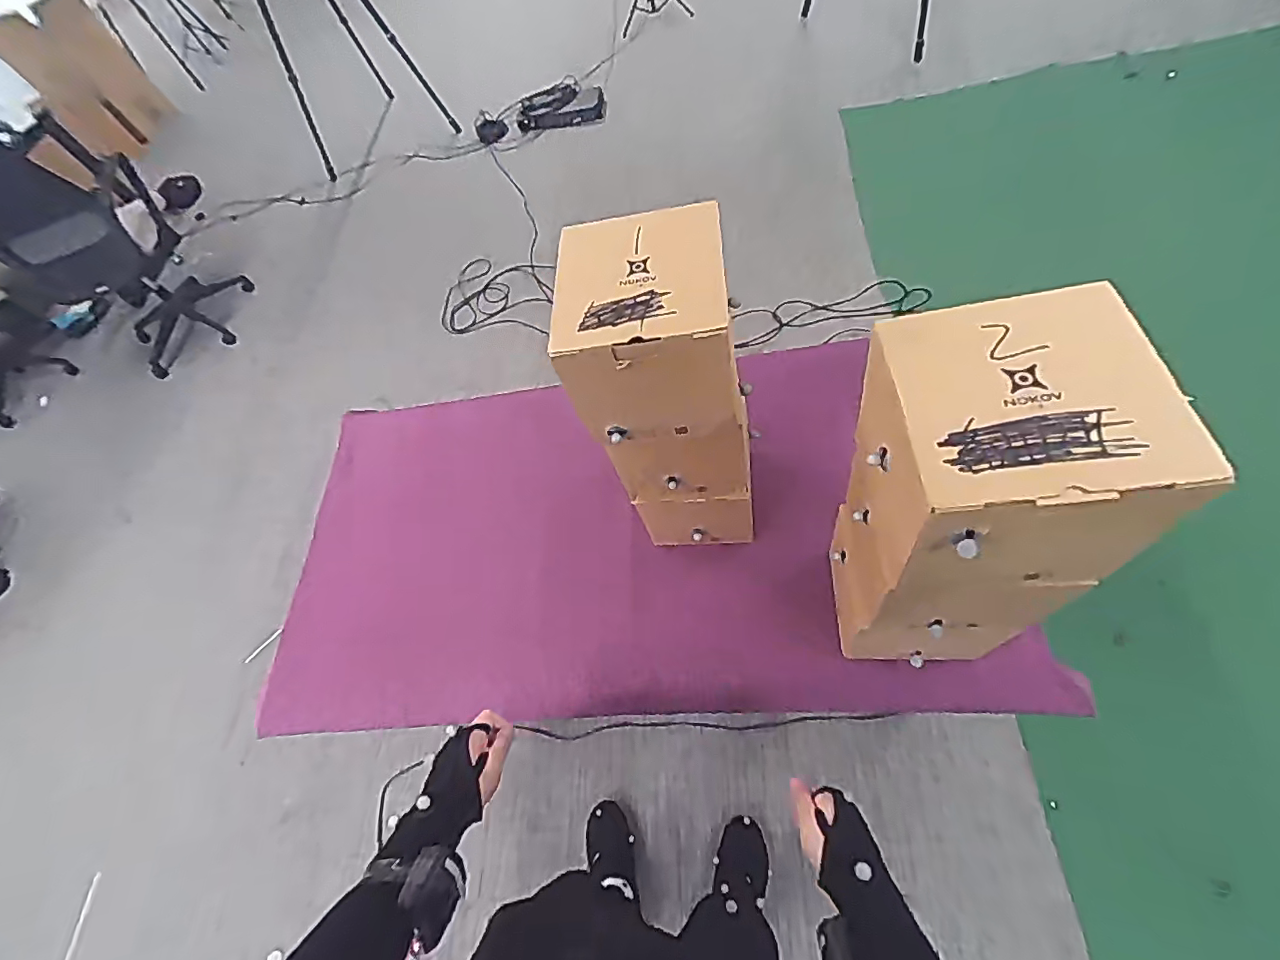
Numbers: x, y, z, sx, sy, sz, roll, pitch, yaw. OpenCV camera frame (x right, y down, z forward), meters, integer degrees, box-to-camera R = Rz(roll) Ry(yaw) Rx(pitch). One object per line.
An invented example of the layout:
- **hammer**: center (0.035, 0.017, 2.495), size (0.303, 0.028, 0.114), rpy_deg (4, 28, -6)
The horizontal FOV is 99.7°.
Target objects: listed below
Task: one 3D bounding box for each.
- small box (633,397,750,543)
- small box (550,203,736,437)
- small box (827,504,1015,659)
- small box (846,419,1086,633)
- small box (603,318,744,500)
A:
- **small box**: center (0.090, -0.010, 0.867), size (0.168, 0.176, 0.179), rpy_deg (-3, 62, 12)
- **small box**: center (0.014, -0.158, 0.586), size (0.168, 0.176, 0.179), rpy_deg (-5, 61, 10)
- **small box**: center (0.356, 0.138, 0.724), size (0.179, 0.176, 0.168), rpy_deg (-3, 60, 12)
- **small box**: center (0.324, 0.056, 0.585), size (0.168, 0.176, 0.179), rpy_deg (-4, 61, 13)
- **small box**: center (0.051, -0.090, 0.731), size (0.168, 0.176, 0.179), rpy_deg (-5, 62, 10)
